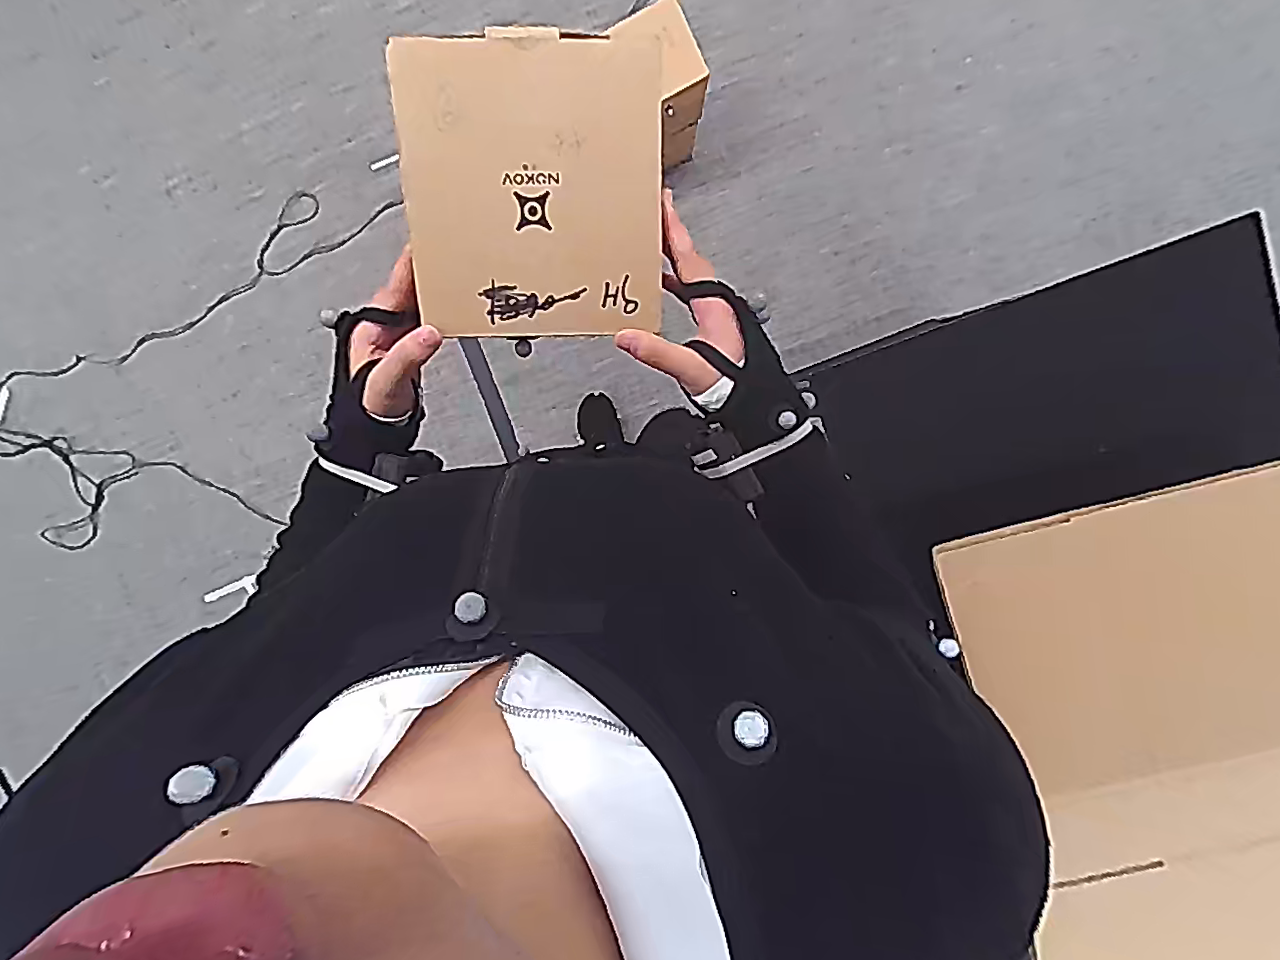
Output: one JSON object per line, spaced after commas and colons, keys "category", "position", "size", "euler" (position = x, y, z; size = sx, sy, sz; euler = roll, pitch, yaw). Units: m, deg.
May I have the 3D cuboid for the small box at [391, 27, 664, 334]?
{"category": "small box", "position": [-0.069, -0.206, 0.422], "size": [0.168, 0.176, 0.179], "euler": [-1, 106, -1]}

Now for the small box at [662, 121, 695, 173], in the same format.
{"category": "small box", "position": [0.017, -0.850, 1.301], "size": [0.179, 0.176, 0.168], "euler": [-24, 96, 4]}

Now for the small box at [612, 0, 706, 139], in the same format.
{"category": "small box", "position": [0.020, -0.834, 1.140], "size": [0.179, 0.176, 0.168], "euler": [-27, 97, 3]}
